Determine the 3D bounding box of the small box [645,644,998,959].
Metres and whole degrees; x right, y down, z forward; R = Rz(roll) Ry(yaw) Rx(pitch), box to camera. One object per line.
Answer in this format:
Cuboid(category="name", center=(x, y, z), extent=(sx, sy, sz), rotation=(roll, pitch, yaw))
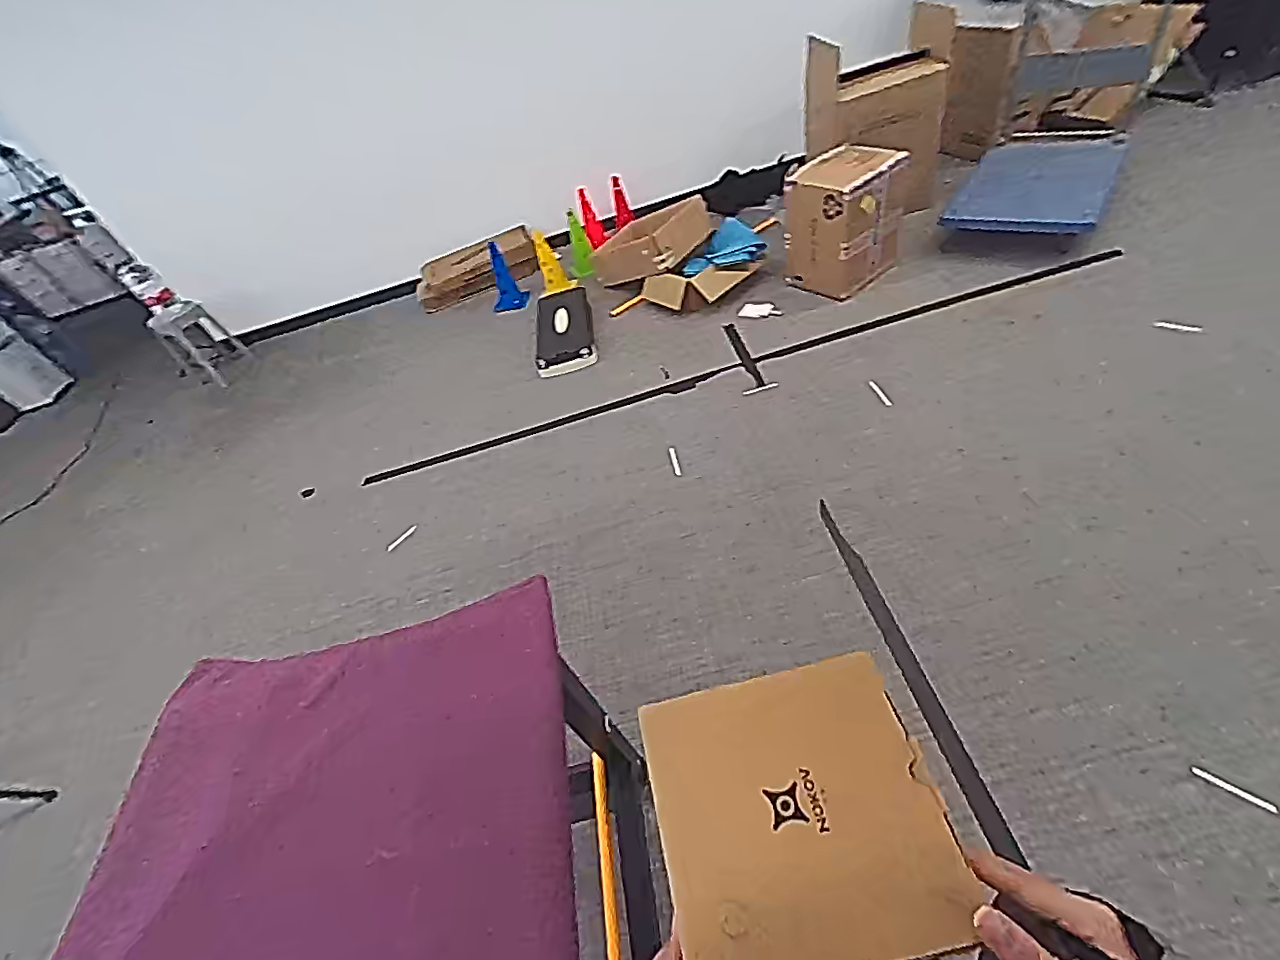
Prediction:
Cuboid(category="small box", center=(0.114, 0.251, 0.408), extent=(0.179, 0.176, 0.168), rotation=(-14, 50, 1))
